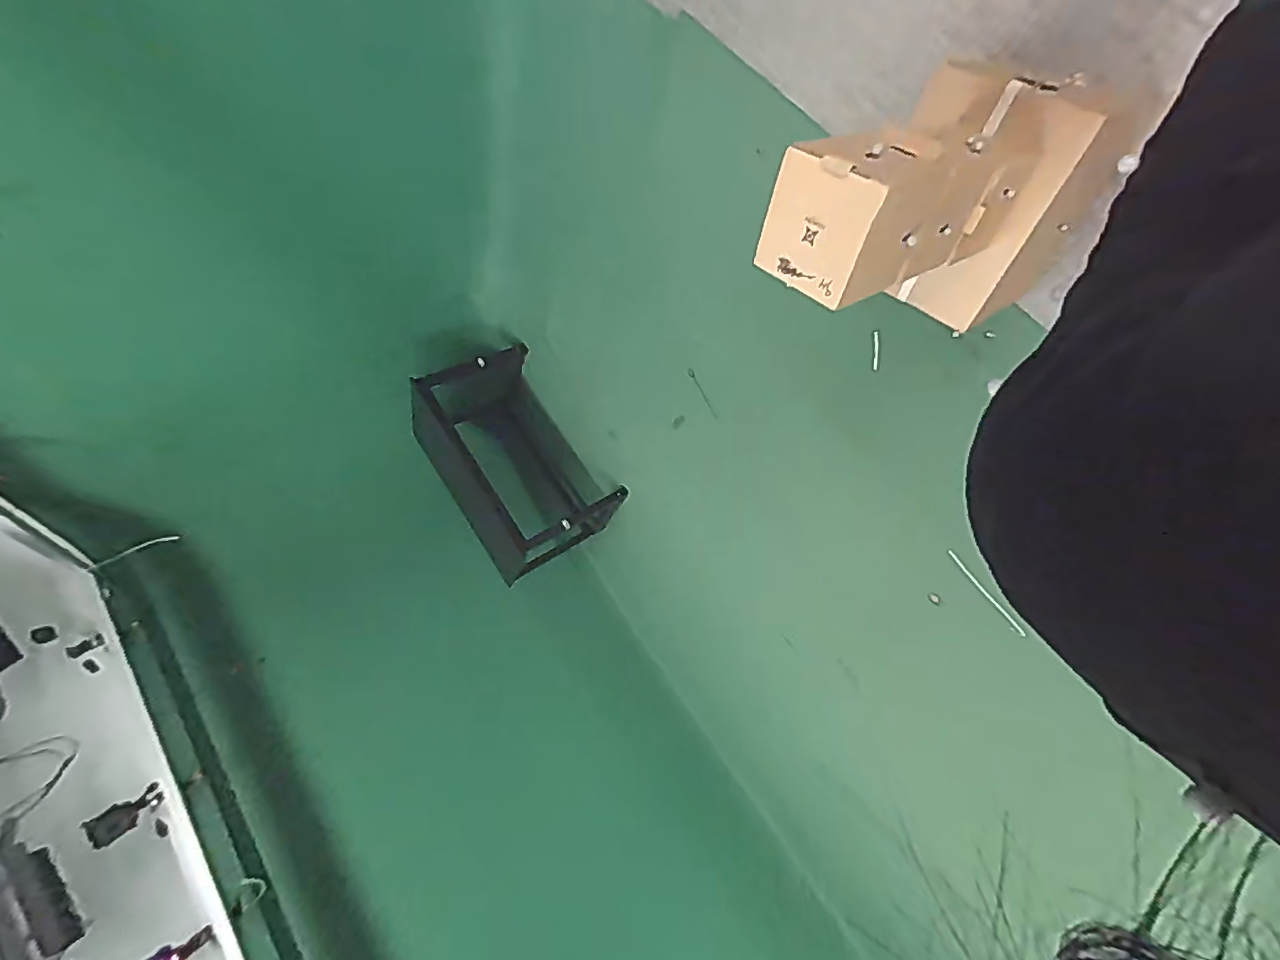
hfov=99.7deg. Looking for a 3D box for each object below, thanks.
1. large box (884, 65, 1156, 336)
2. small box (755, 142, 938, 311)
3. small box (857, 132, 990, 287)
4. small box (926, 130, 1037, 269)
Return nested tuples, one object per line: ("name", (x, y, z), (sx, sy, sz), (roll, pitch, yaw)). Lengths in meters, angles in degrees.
("large box", (0.734, -0.590, 1.137), (0.320, 0.320, 0.408), (45, 147, 28))
("small box", (0.309, -0.386, 0.810), (0.168, 0.176, 0.179), (44, 144, 27))
("small box", (0.436, -0.452, 0.891), (0.168, 0.176, 0.179), (44, 145, 28))
("small box", (0.561, -0.513, 0.976), (0.179, 0.176, 0.168), (45, 145, 27))
